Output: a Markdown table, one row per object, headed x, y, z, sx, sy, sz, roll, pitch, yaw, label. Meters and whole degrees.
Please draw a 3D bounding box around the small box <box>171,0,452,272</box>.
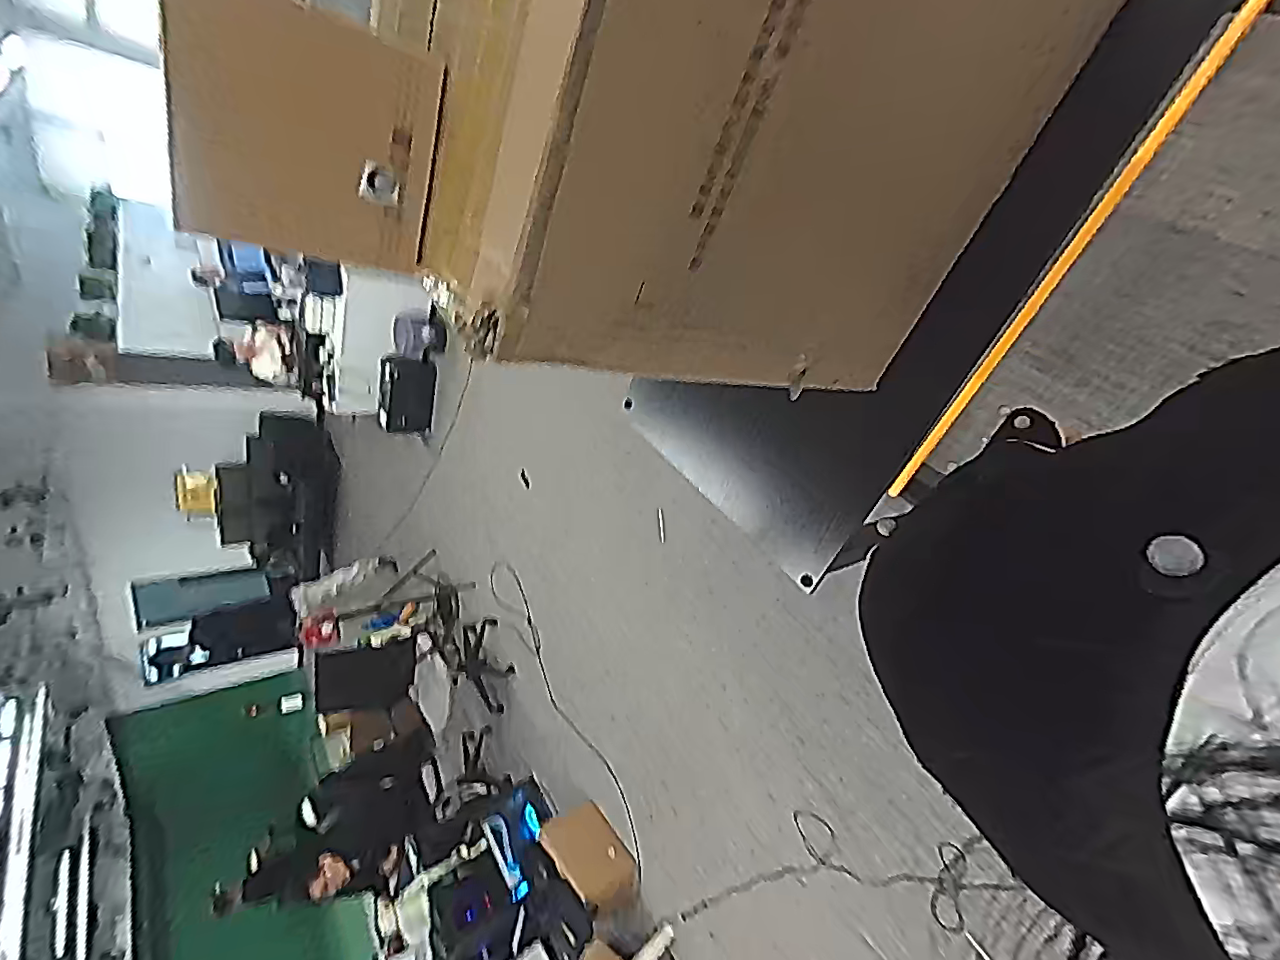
| x | y | z | sx | sy | sz | roll | pitch | yaw | label |
| --- | --- | --- | --- | --- | --- | --- | --- | --- | --- |
| -0.277 | -0.289 | 0.454 | 0.179 | 0.176 | 0.168 | 44 | 126 | 39 | small box |
